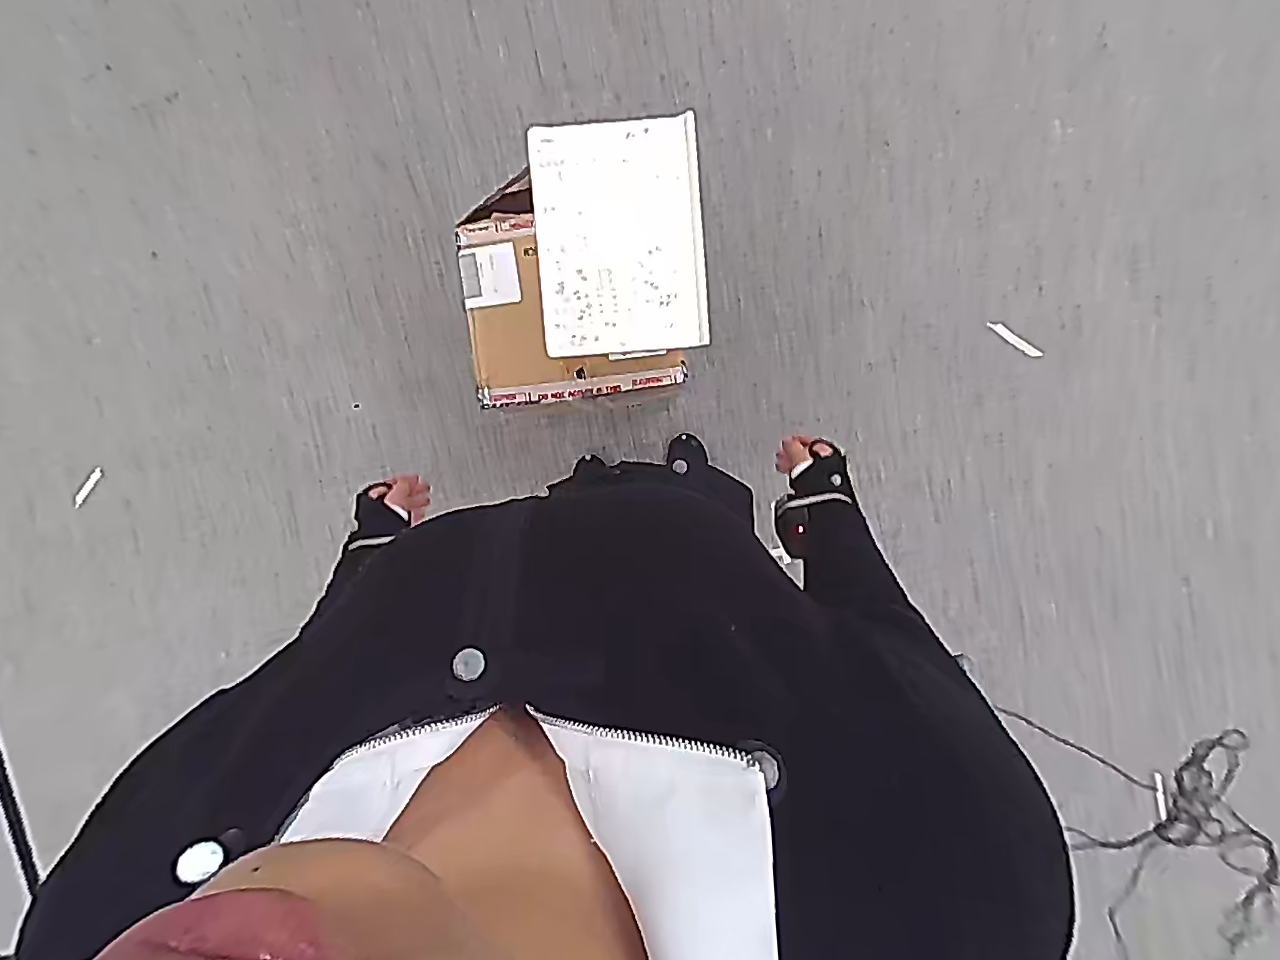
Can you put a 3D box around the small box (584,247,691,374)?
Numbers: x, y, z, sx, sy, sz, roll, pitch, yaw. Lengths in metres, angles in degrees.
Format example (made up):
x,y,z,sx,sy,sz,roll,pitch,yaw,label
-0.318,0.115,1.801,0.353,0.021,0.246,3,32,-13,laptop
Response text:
x,y,z,sx,sy,sz,roll,pitch,yaw,label
-0.017,-0.278,0.914,0.179,0.176,0.168,-8,95,1,small box

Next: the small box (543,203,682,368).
x,y,z,sx,sy,sz,roll,pitch,yaw,label
-0.035,-0.257,0.751,0.168,0.176,0.179,-5,96,0,small box
